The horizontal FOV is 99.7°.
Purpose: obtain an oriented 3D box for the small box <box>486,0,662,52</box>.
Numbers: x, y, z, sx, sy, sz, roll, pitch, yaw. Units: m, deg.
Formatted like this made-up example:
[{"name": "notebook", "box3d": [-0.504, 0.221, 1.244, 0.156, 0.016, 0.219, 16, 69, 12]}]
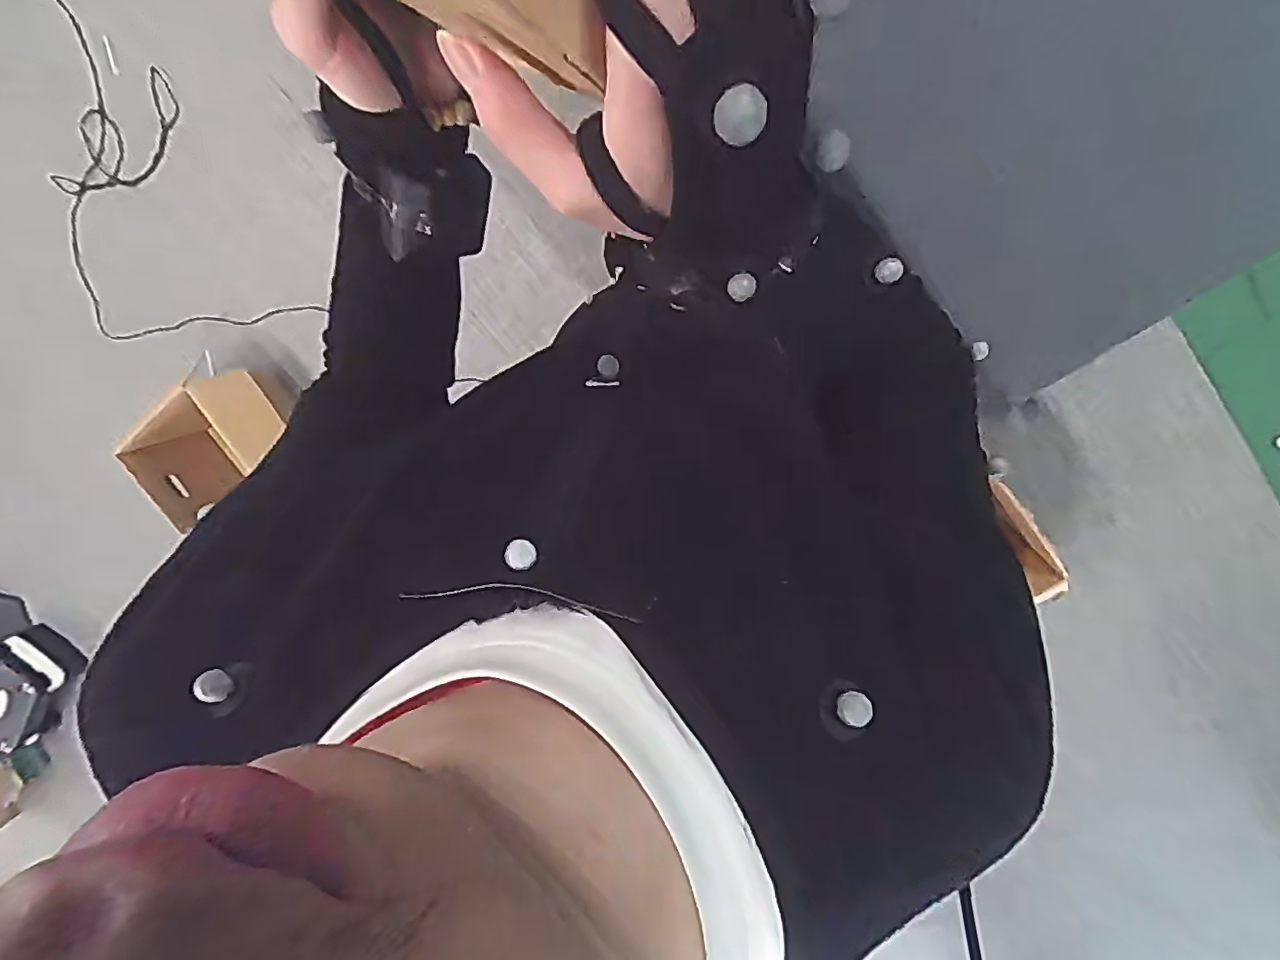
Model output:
[{"name": "small box", "box3d": [-0.065, -0.247, 0.110, 0.179, 0.168, 0.176, 40, 113, 22]}]
